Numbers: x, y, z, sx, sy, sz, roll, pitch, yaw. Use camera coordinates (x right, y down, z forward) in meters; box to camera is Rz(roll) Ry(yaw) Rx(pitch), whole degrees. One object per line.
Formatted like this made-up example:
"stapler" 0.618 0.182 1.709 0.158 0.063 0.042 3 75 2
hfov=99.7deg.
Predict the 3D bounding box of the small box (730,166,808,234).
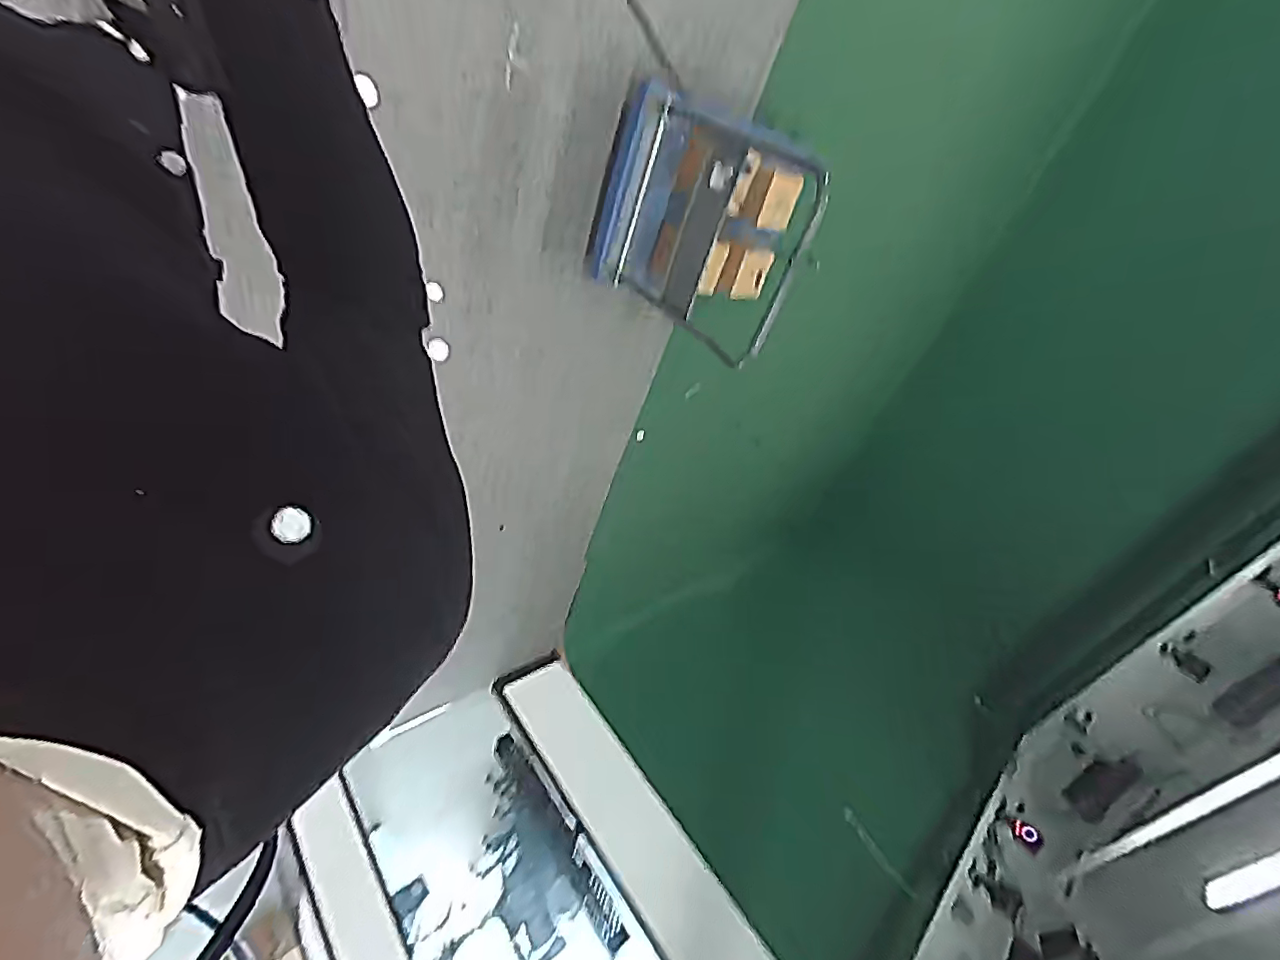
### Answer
"small box" 0.447 -0.987 1.903 0.179 0.176 0.168 -16 138 -39

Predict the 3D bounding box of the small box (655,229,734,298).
"small box" 0.185 -0.749 1.872 0.179 0.176 0.168 -11 134 -41

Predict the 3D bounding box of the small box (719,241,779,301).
"small box" 0.384 -0.793 2.050 0.179 0.176 0.168 -15 136 -38
